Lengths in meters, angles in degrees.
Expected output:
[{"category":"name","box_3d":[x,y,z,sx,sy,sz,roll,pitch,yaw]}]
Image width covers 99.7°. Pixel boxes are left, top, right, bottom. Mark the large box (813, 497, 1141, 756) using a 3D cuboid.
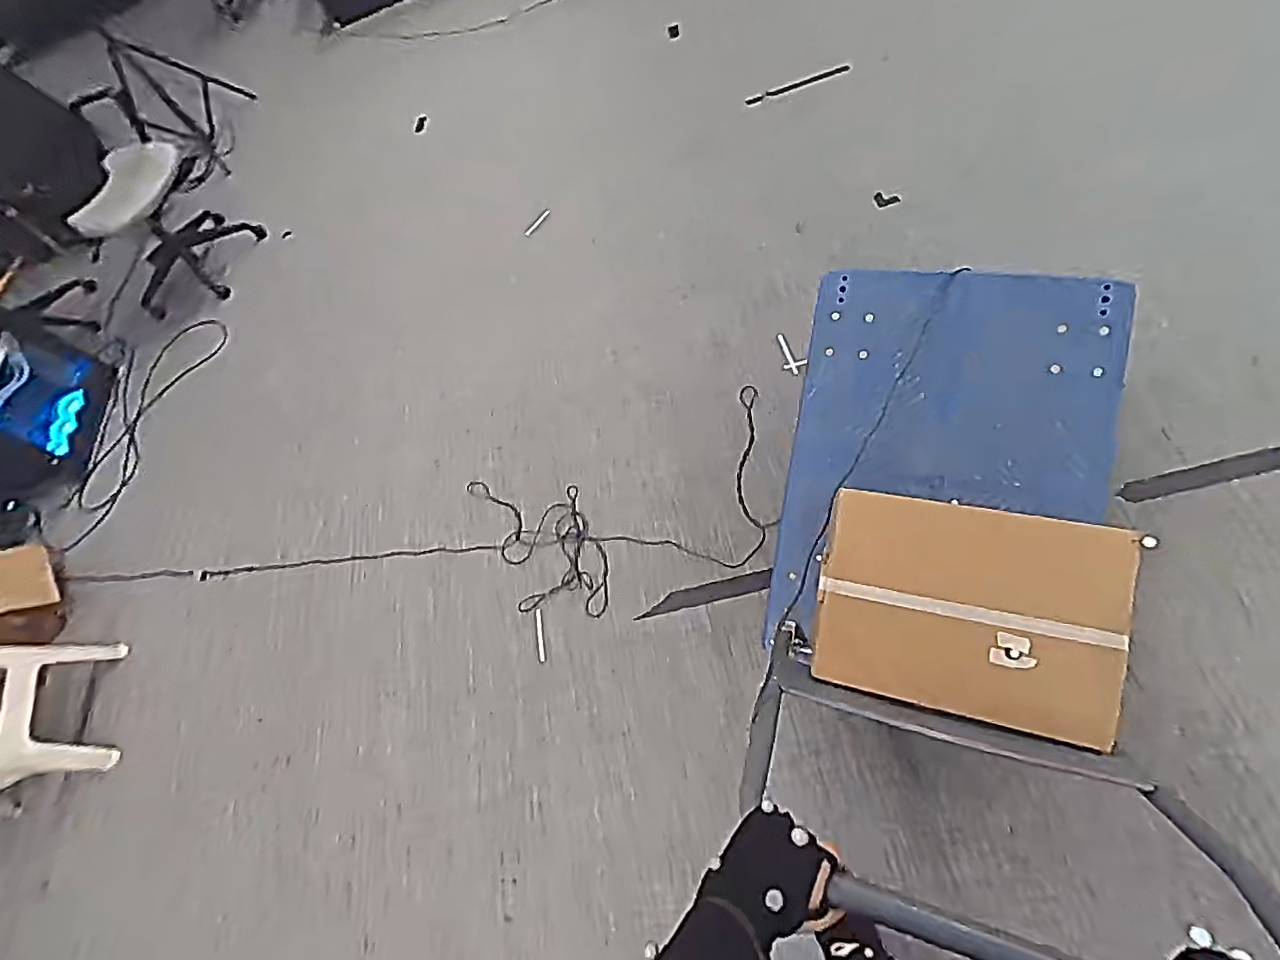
[{"category":"large box","box_3d":[0.531,0.216,0.950,0.408,0.320,0.320,9,90,18]}]
